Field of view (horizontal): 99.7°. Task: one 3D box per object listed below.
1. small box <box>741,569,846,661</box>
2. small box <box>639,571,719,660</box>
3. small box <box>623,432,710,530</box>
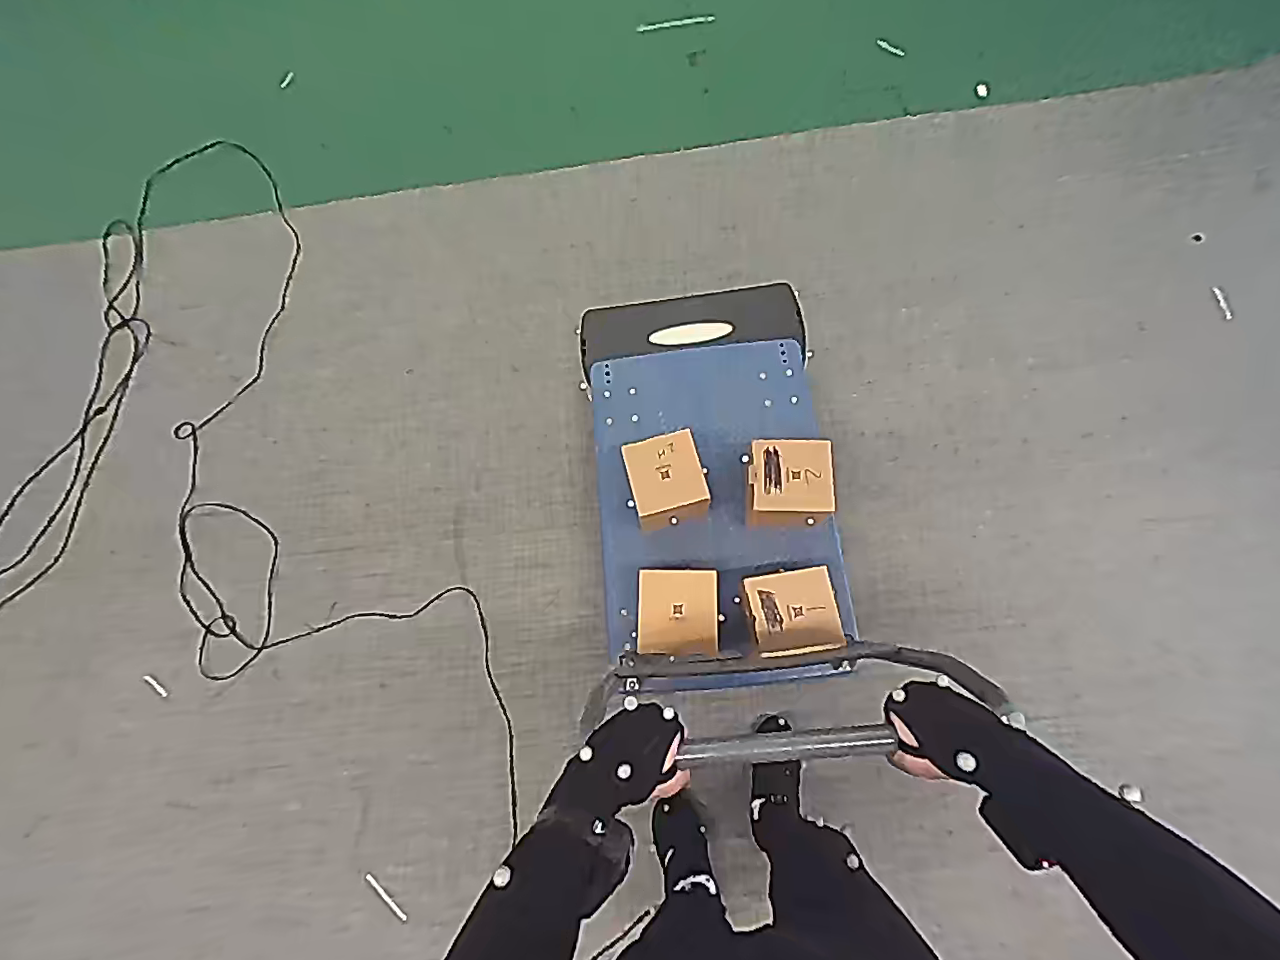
[{"bbox_3d":[0.321,0.298,1.175,0.179,0.176,0.168,-9,73,2],"label":"small box"},{"bbox_3d":[0.085,0.302,1.196,0.168,0.176,0.179,1,74,4],"label":"small box"},{"bbox_3d":[0.064,0.012,1.286,0.168,0.176,0.179,-14,72,-1],"label":"small box"}]
